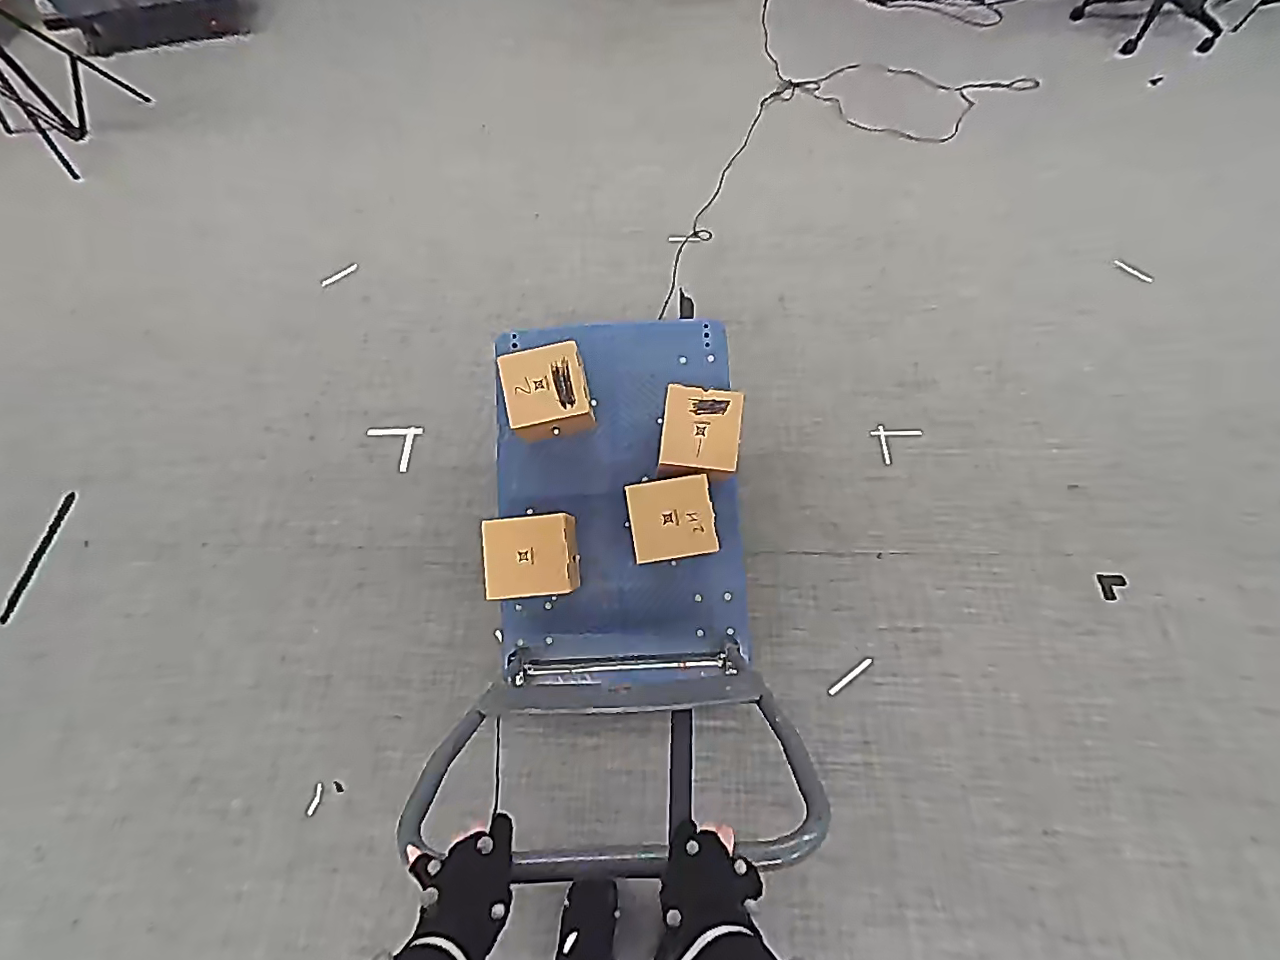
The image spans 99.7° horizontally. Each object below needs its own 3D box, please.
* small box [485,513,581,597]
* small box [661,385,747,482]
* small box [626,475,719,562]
[{"bbox_3d":[-0.232,0.166,1.199,0.179,0.176,0.168,-5,83,-1],"label":"small box"},{"bbox_3d":[0.137,-0.100,1.223,0.168,0.176,0.179,7,84,2],"label":"small box"},{"bbox_3d":[0.071,0.091,1.201,0.179,0.176,0.168,-8,83,0],"label":"small box"}]
